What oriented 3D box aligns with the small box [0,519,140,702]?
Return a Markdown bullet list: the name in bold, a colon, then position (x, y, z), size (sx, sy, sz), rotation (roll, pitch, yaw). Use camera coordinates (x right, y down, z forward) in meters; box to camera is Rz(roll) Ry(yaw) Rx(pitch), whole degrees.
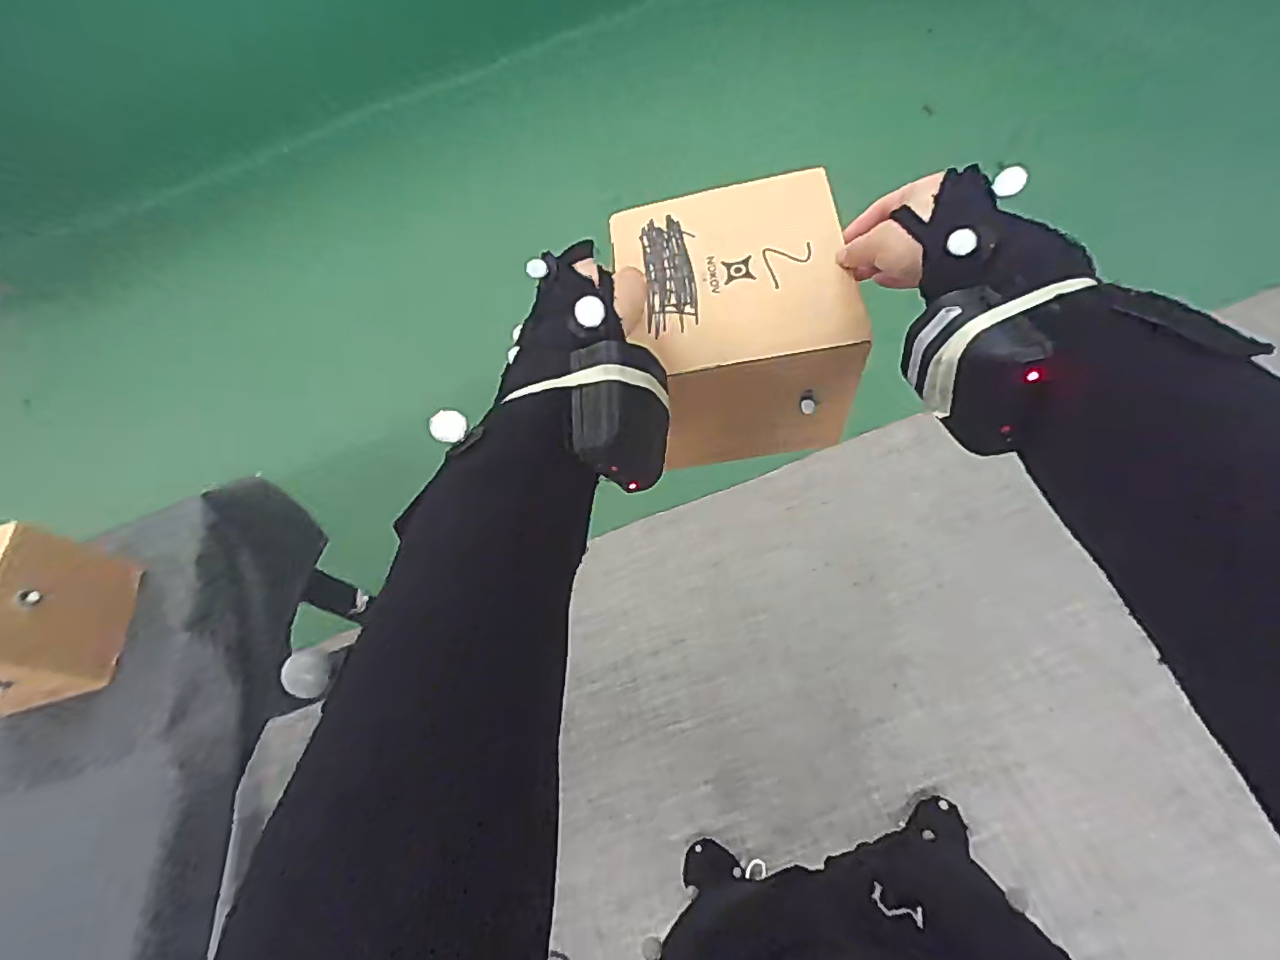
- **small box**: position (-0.817, 0.180, 0.704), size (0.168, 0.176, 0.179), rotation (-16, 58, 3)
